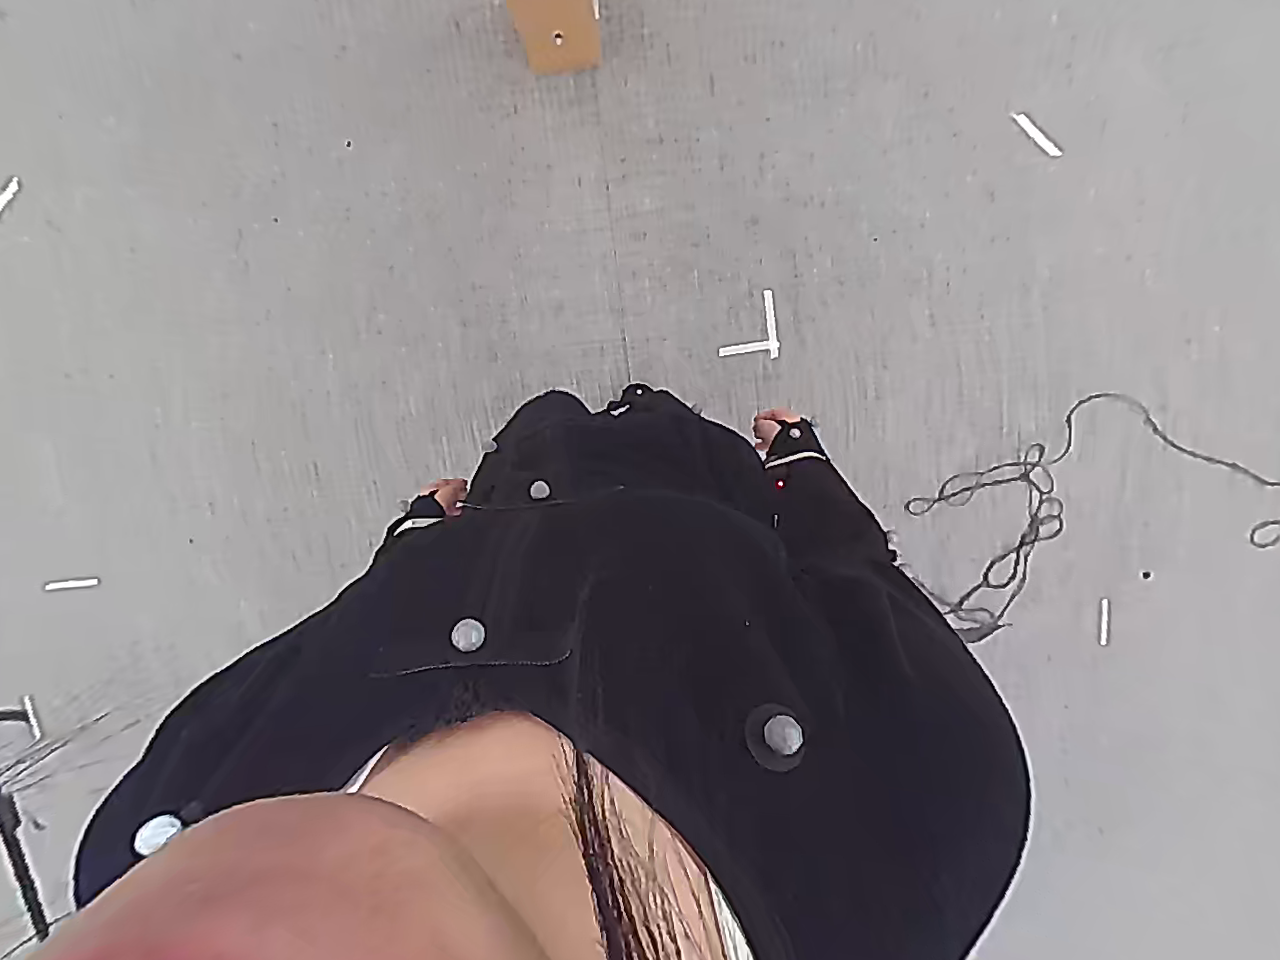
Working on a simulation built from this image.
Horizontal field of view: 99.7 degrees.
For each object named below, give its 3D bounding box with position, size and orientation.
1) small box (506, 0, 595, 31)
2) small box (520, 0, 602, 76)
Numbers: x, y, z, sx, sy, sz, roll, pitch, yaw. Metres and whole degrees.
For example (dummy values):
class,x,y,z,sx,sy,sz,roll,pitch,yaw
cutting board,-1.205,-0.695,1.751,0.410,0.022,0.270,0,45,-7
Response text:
class,x,y,z,sx,sy,sz,roll,pitch,yaw
small box,-0.188,-1.035,1.073,0.179,0.176,0.168,-3,100,1
small box,-0.181,-1.064,1.235,0.179,0.176,0.168,-6,99,1
